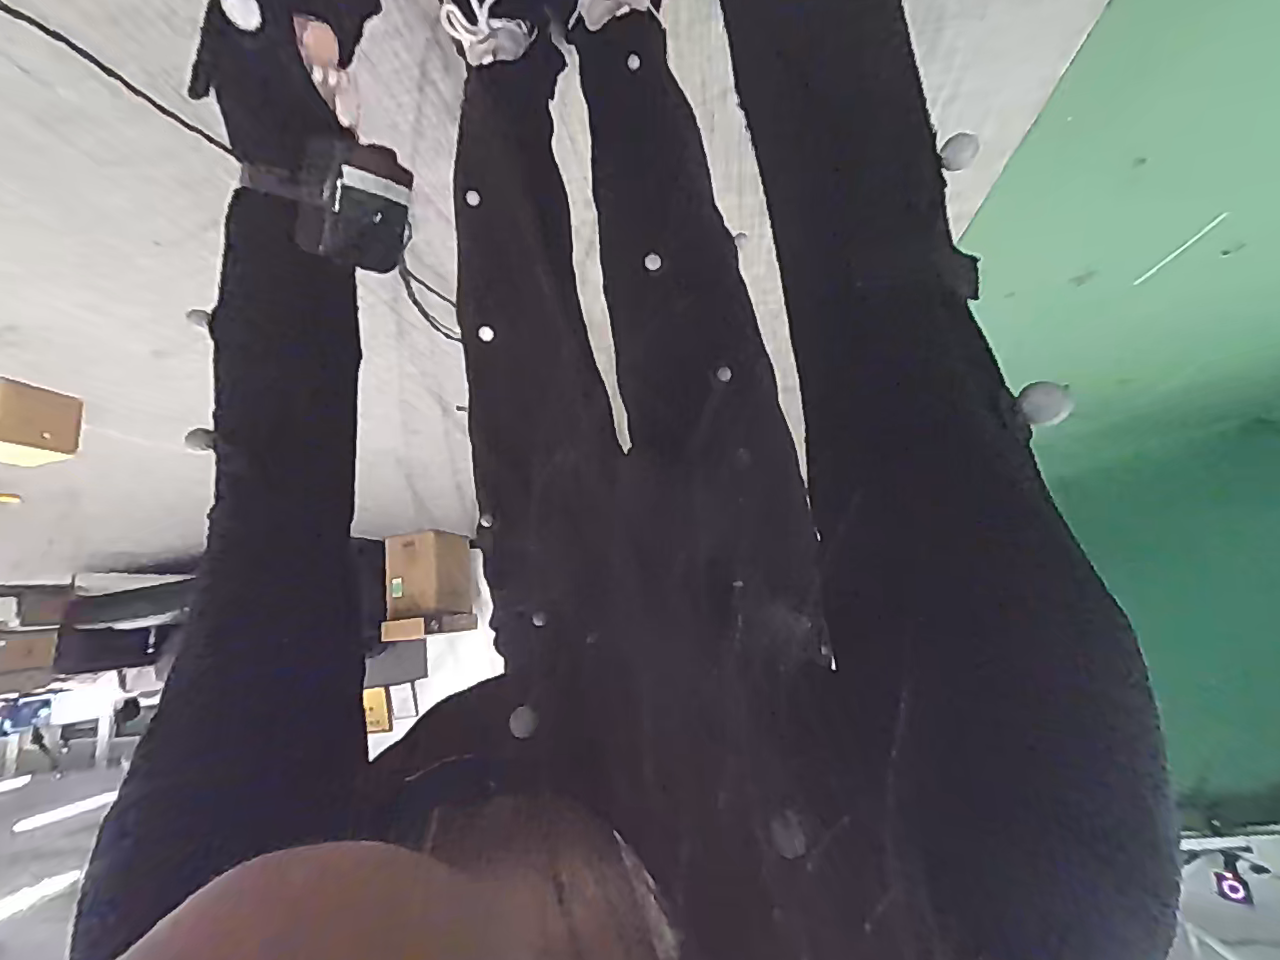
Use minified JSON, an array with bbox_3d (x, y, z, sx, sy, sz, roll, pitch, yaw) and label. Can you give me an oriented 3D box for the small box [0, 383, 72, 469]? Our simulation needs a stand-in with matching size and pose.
[{"bbox_3d":[-1.632,-0.140,1.392,0.168,0.176,0.179,-10,168,9],"label":"small box"}]
